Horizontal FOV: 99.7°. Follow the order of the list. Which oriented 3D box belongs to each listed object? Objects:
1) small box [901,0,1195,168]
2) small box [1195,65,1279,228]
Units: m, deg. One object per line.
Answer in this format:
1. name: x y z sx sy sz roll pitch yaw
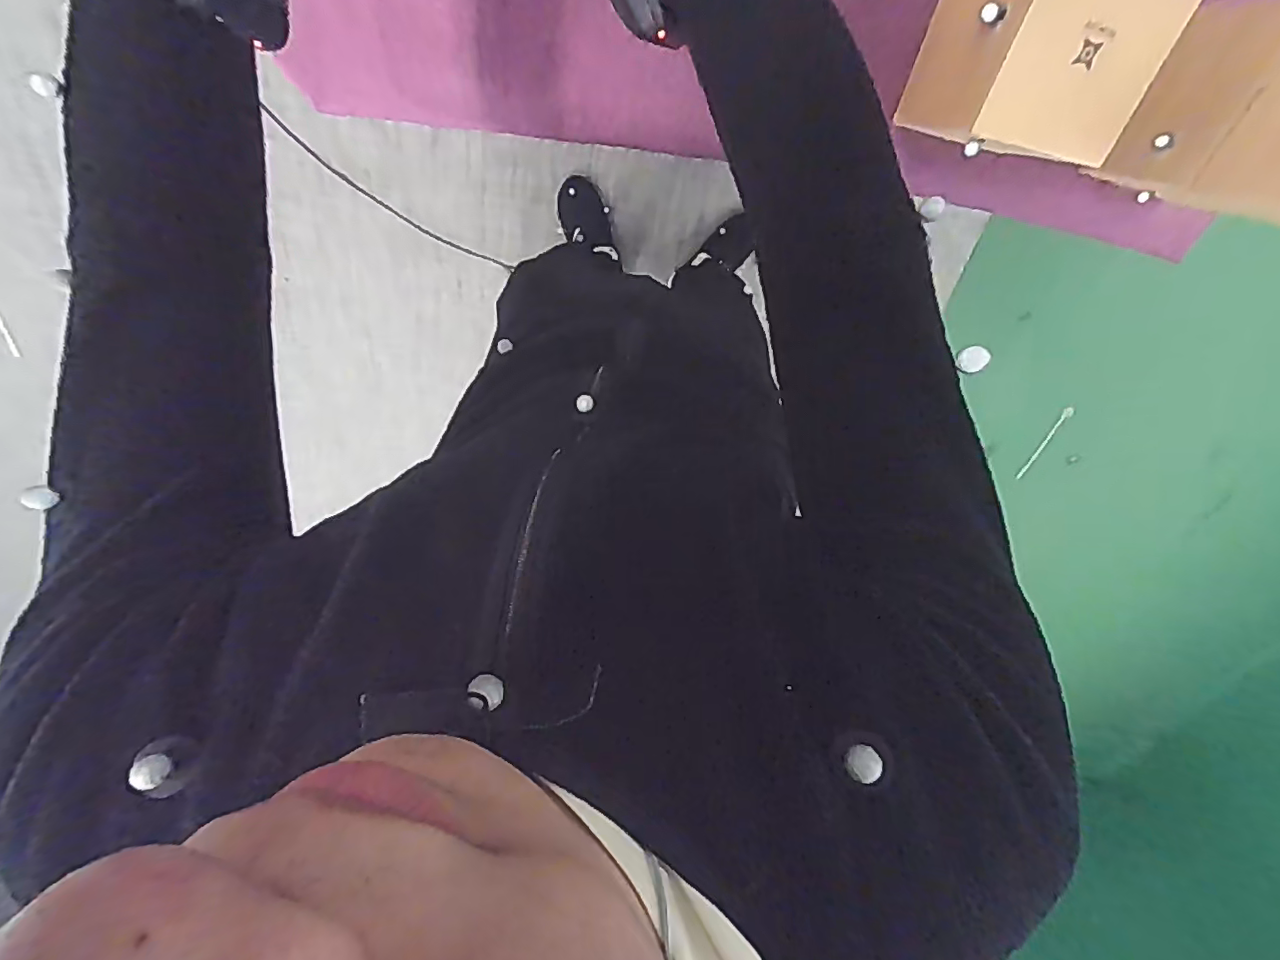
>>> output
1. small box: 0.414 -0.458 0.578 0.168 0.176 0.179 6 124 -12
2. small box: 0.707 -0.329 0.504 0.168 0.176 0.179 9 124 -12
